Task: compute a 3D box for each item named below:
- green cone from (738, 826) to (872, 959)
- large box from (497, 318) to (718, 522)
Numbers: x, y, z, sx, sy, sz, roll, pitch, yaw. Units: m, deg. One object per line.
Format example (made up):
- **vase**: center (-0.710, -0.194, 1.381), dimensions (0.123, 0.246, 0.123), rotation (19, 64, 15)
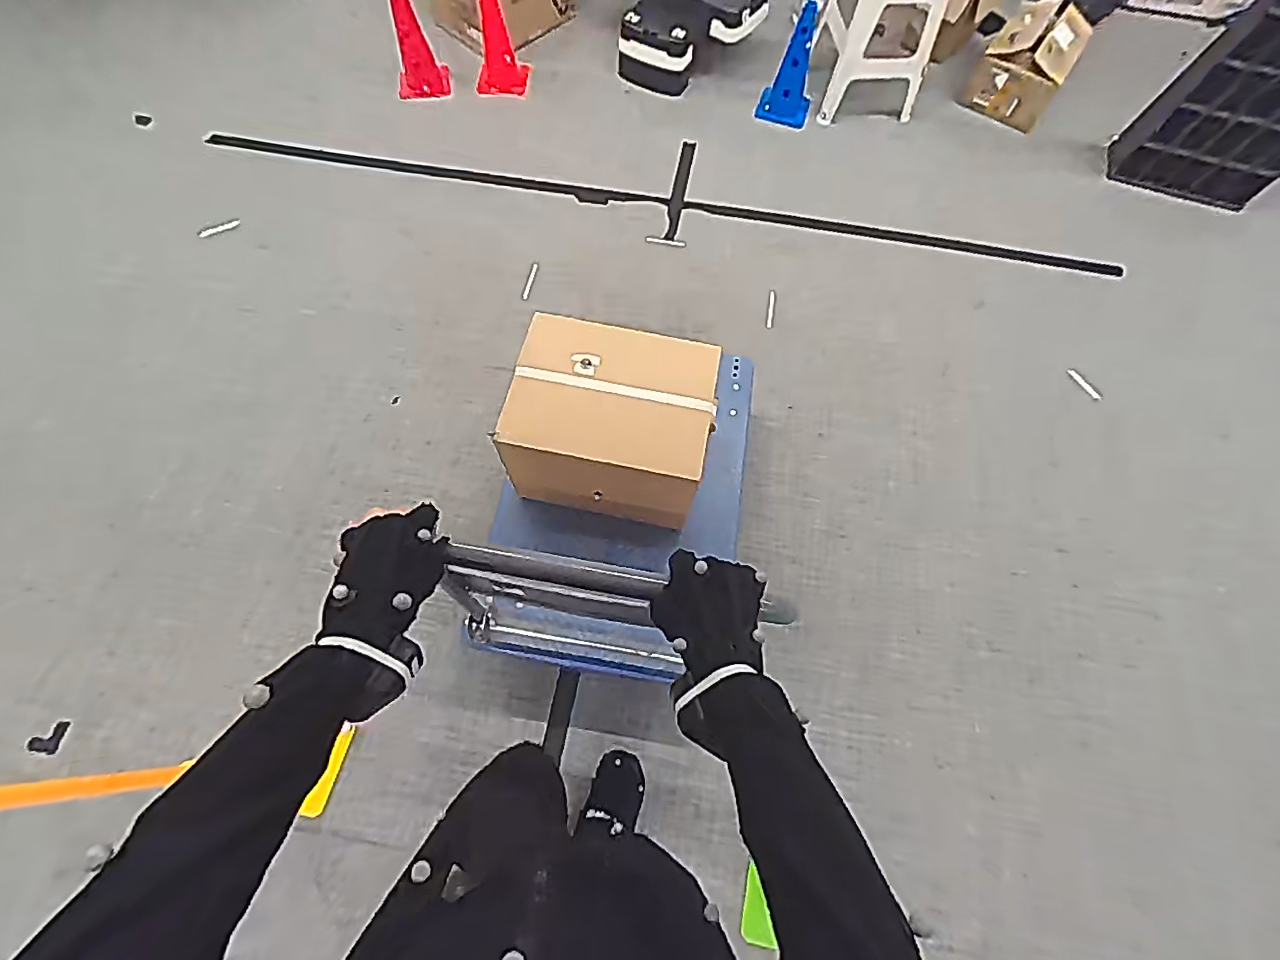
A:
- **green cone**: center (0.330, 0.817, 1.010), dimensions (0.202, 0.368, 0.200), rotation (14, 67, 3)
- **large box**: center (-0.057, -0.121, 1.232), dimensions (0.408, 0.320, 0.320), rotation (11, 68, 3)
